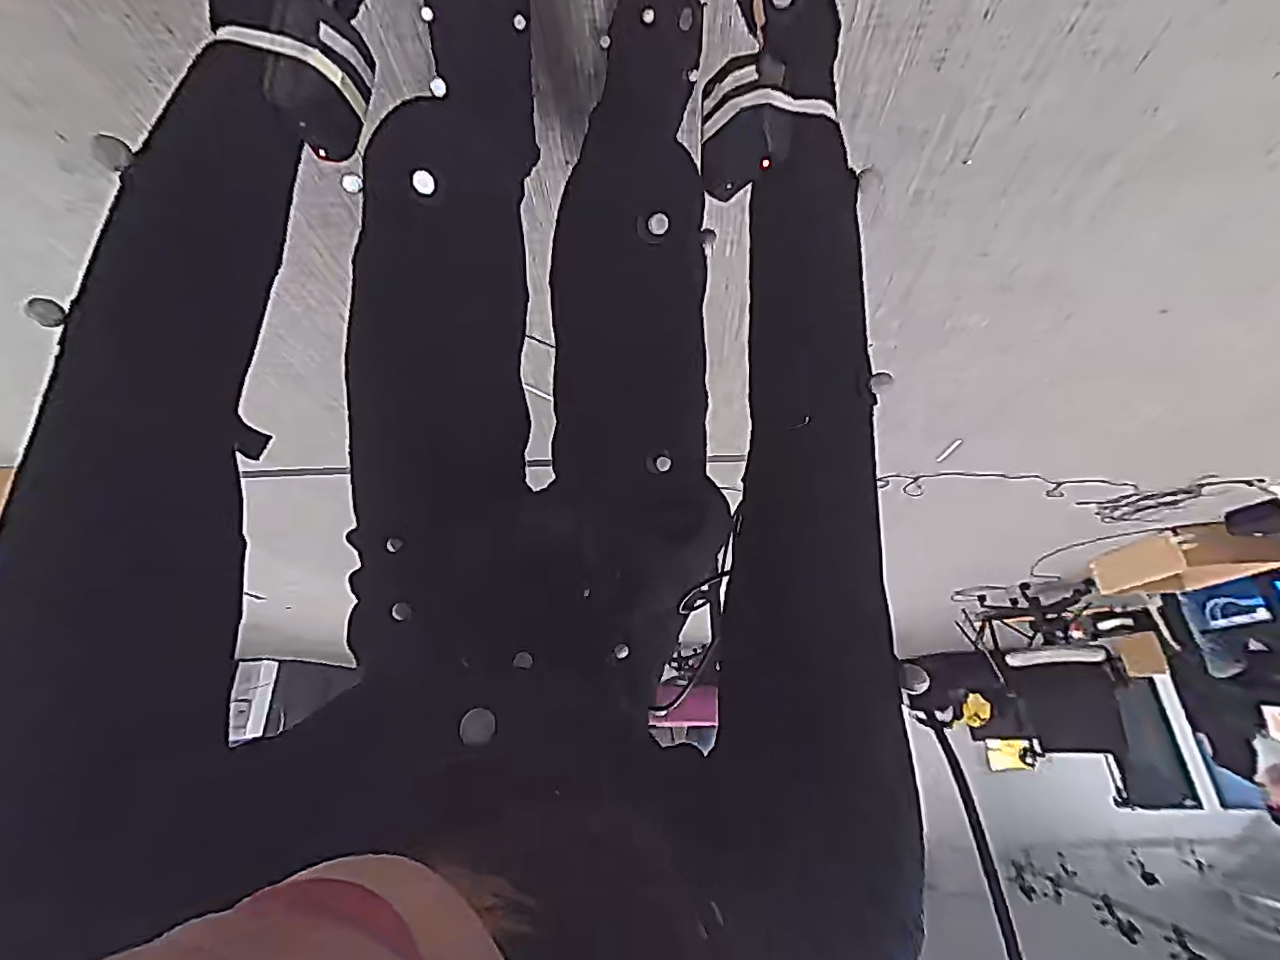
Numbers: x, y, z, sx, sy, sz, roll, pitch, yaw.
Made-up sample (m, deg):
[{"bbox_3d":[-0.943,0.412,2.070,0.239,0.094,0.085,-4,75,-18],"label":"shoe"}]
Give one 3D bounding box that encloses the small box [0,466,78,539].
[{"bbox_3d":[-1.839,0.066,1.596,0.179,0.176,0.168,-3,157,1],"label":"small box"}]
